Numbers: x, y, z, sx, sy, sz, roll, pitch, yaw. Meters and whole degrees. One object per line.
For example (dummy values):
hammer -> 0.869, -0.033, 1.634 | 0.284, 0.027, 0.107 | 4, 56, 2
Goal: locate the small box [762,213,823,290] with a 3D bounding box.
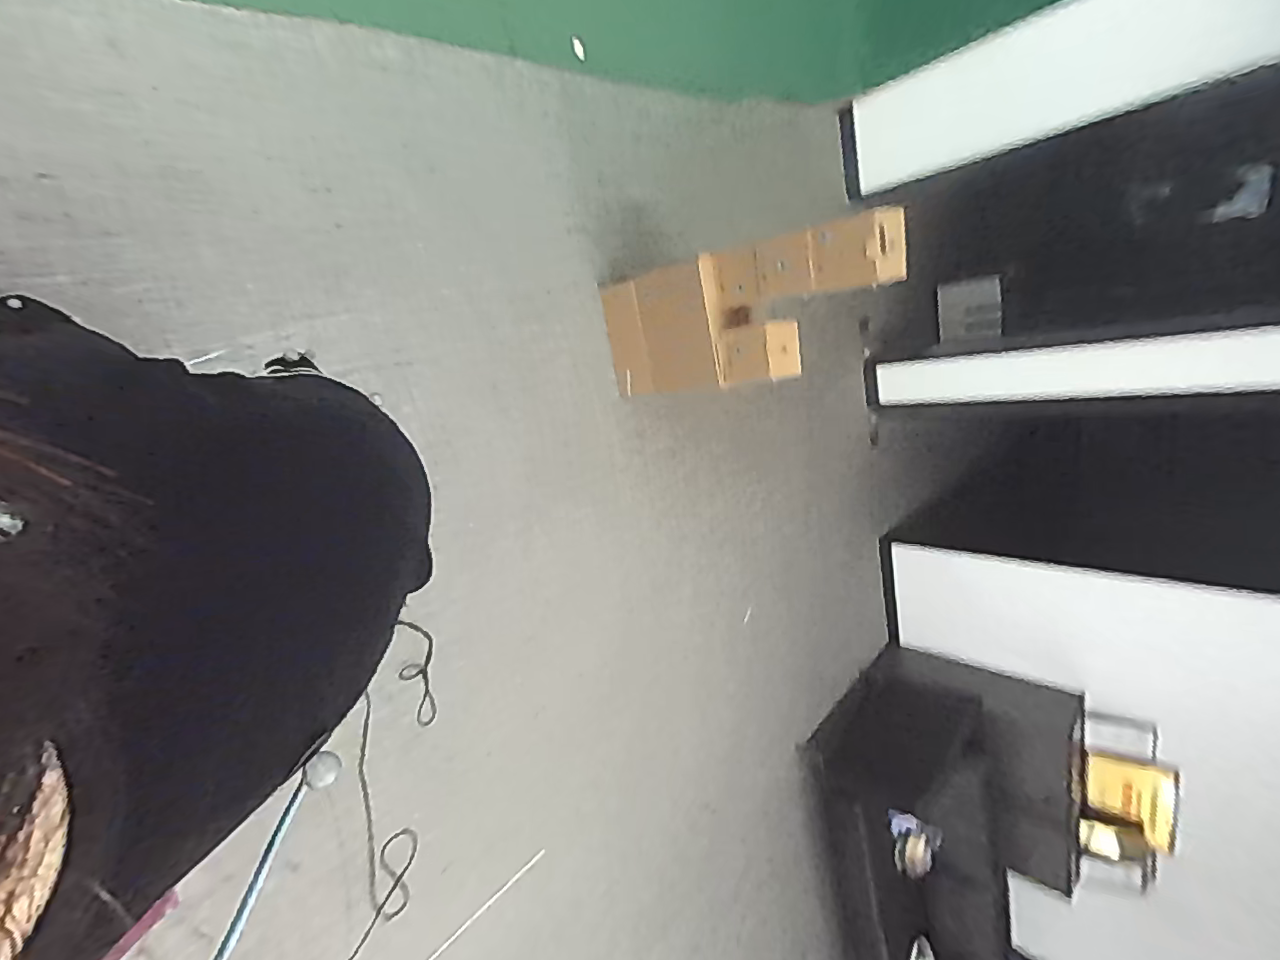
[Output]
small box -> 0.451, -0.633, 1.501 | 0.179, 0.176, 0.168 | -26, 113, -37

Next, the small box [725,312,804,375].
small box -> 0.388, -0.424, 1.681 | 0.179, 0.176, 0.168 | -18, 104, -40

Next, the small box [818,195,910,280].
small box -> 0.569, -0.618, 1.386 | 0.179, 0.176, 0.168 | -27, 114, -39

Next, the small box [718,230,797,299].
small box -> 0.349, -0.649, 1.628 | 0.179, 0.176, 0.168 | -24, 112, -39
